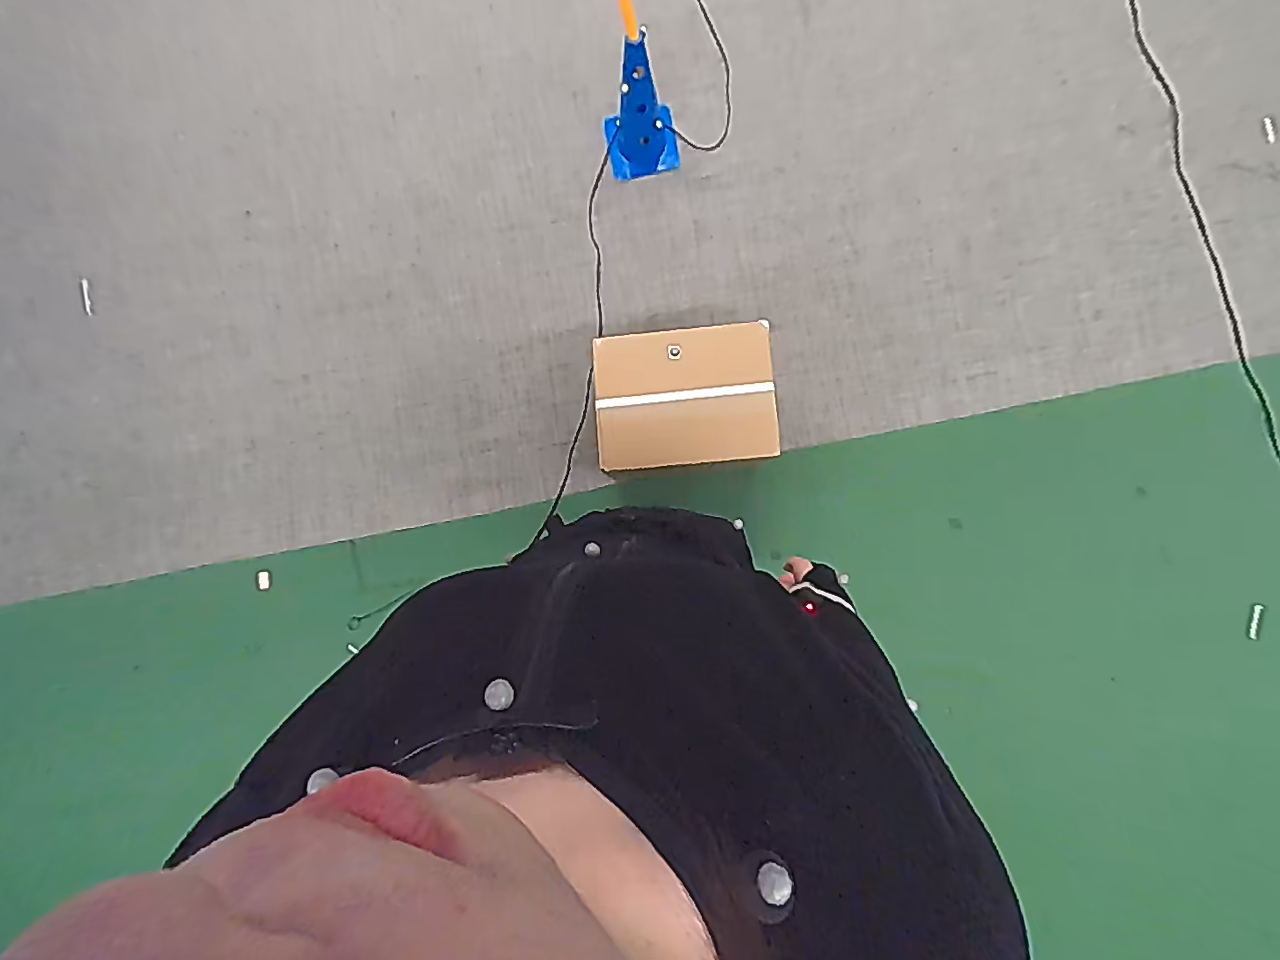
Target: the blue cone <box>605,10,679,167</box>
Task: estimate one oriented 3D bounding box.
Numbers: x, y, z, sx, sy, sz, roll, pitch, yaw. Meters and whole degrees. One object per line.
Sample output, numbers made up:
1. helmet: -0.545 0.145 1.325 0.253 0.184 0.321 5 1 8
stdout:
1. blue cone: -0.006 -1.009 1.385 0.193 0.380 0.192 -14 86 3
